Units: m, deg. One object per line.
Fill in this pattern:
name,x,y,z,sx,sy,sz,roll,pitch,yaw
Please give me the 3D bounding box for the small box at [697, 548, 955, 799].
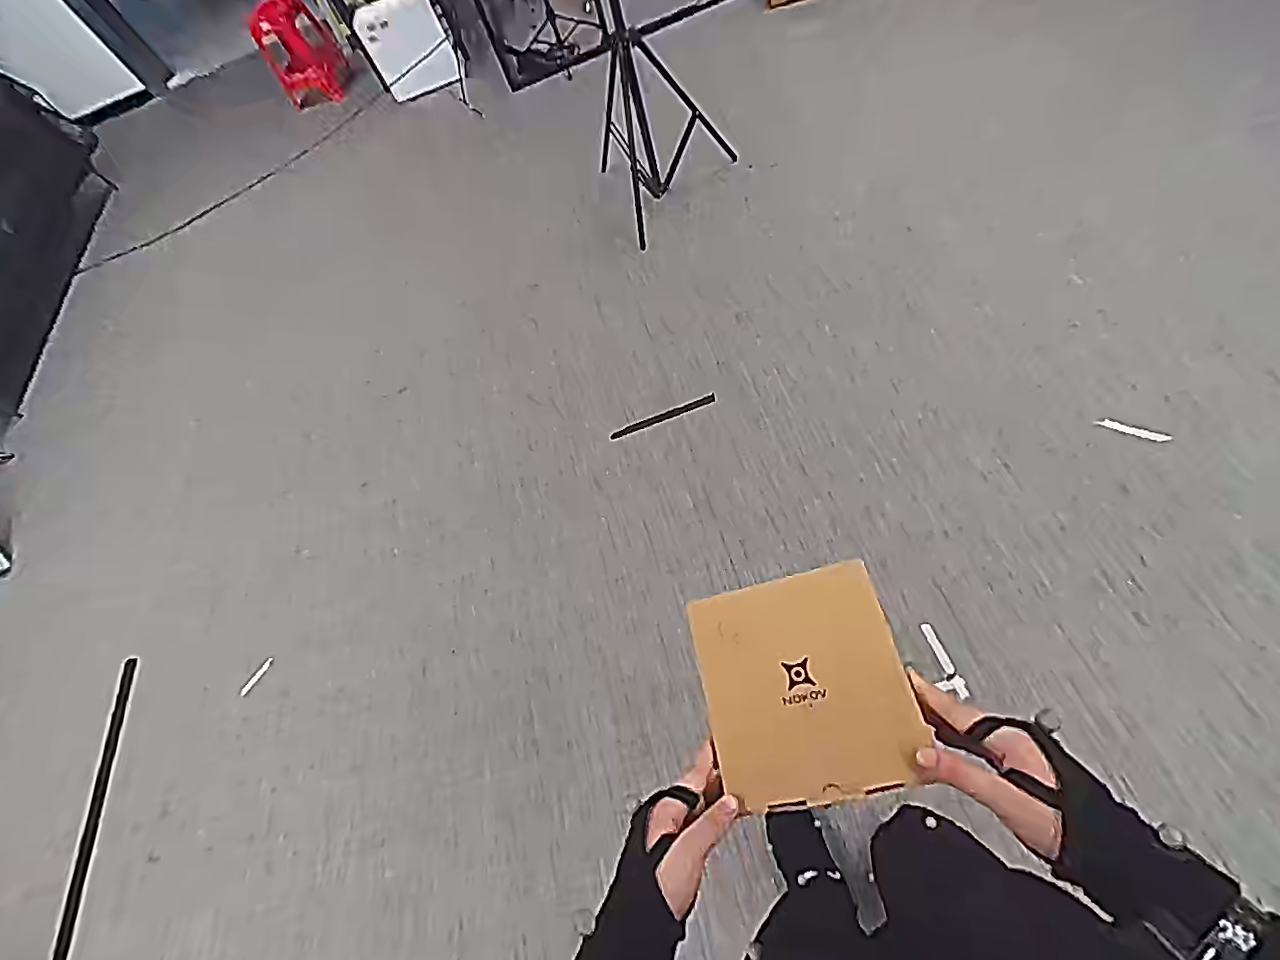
small box,0.165,0.188,0.518,0.168,0.176,0.179,-18,61,12
